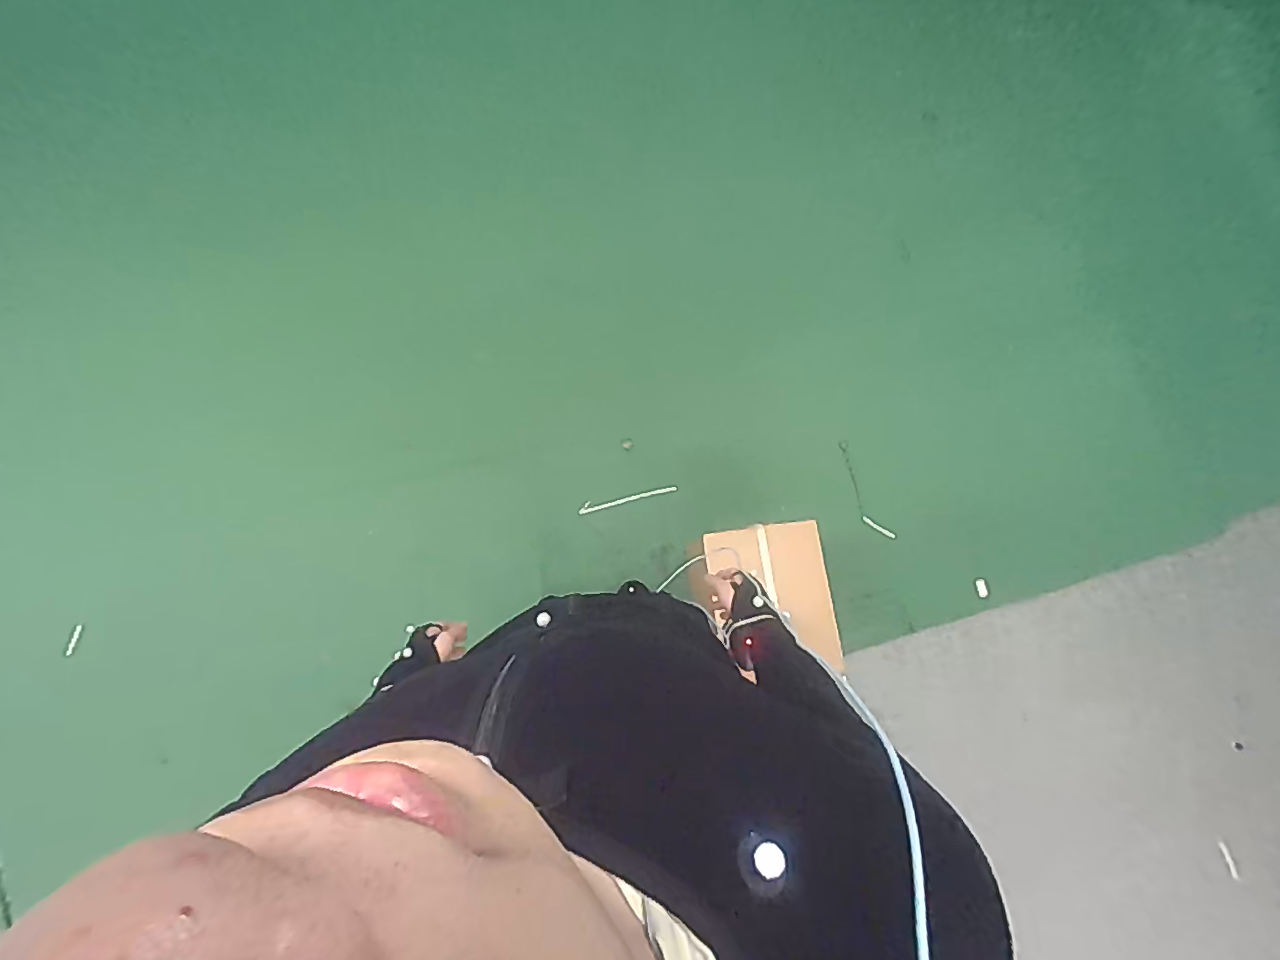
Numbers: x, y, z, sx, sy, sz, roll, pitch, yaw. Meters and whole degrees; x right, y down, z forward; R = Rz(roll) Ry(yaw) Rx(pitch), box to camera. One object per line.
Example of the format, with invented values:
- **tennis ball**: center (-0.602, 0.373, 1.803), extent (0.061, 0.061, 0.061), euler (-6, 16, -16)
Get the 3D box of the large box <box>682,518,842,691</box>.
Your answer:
- **large box**: center (0.322, 0.342, 1.538), extent (0.320, 0.320, 0.408), euler (-7, 79, -6)
